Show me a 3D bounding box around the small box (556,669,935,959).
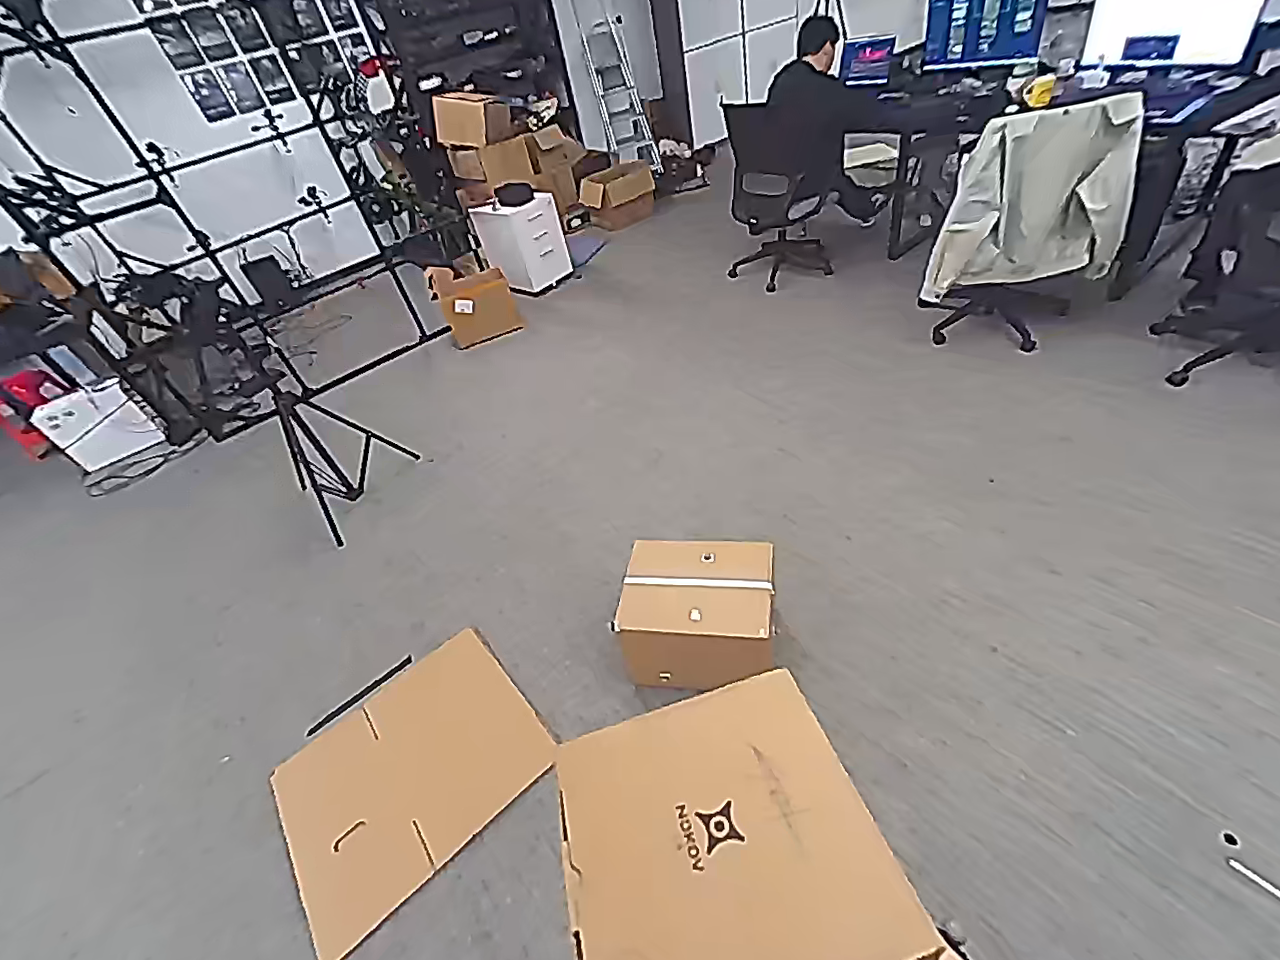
[{"bbox_3d":[0.058,0.266,0.360,0.179,0.176,0.168,-17,36,-6],"label":"small box"}]
